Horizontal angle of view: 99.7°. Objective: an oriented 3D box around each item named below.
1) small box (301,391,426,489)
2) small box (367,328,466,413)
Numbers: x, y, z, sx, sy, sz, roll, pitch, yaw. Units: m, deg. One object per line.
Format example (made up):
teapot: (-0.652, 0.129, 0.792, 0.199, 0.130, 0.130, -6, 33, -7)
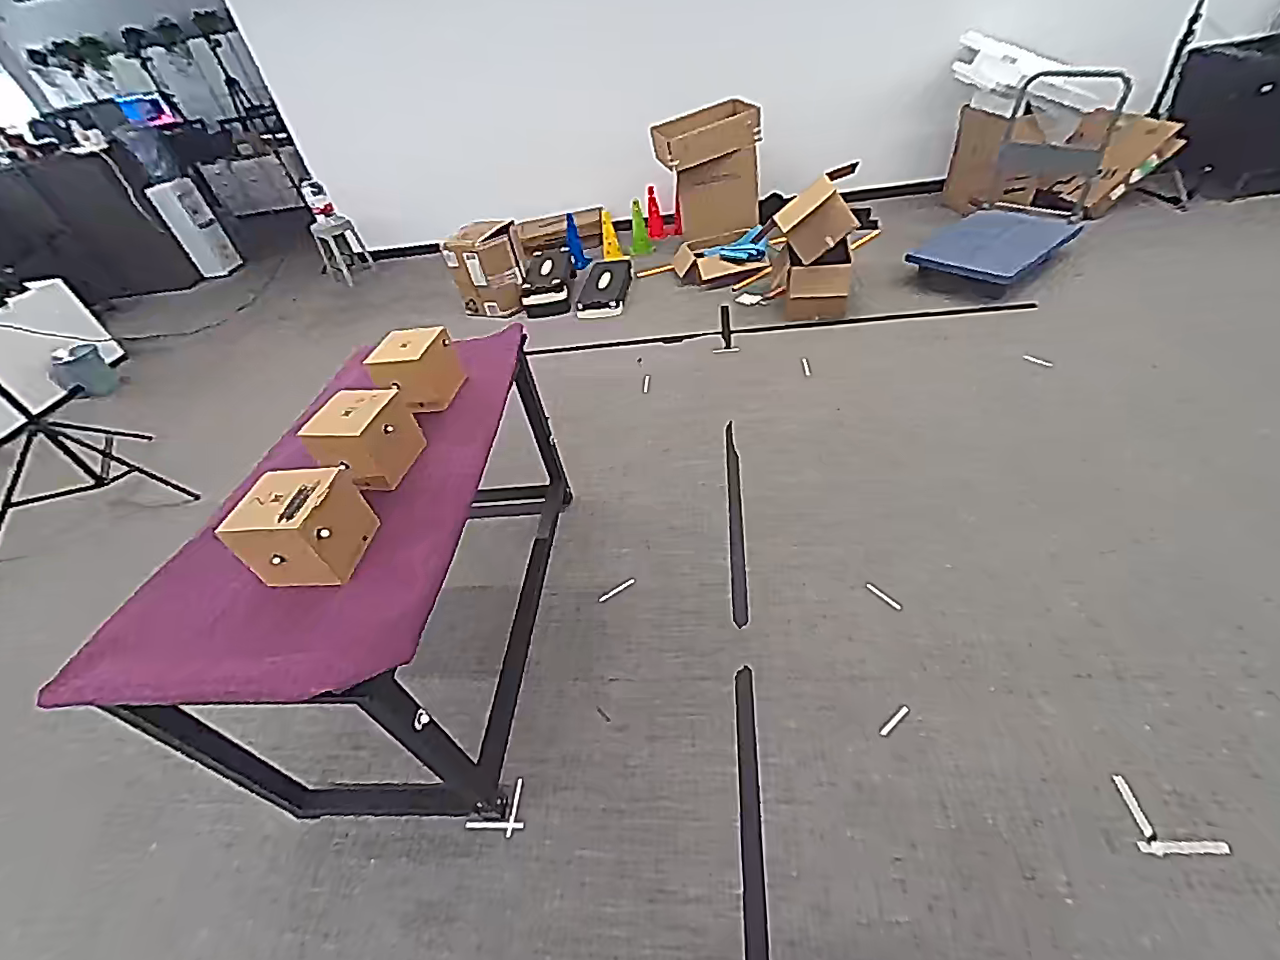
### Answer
small box: (-0.642, -0.094, 1.283, 0.168, 0.176, 0.179, 2, 43, 14)
small box: (-0.608, -0.298, 1.499, 0.168, 0.176, 0.179, -2, 43, 12)
